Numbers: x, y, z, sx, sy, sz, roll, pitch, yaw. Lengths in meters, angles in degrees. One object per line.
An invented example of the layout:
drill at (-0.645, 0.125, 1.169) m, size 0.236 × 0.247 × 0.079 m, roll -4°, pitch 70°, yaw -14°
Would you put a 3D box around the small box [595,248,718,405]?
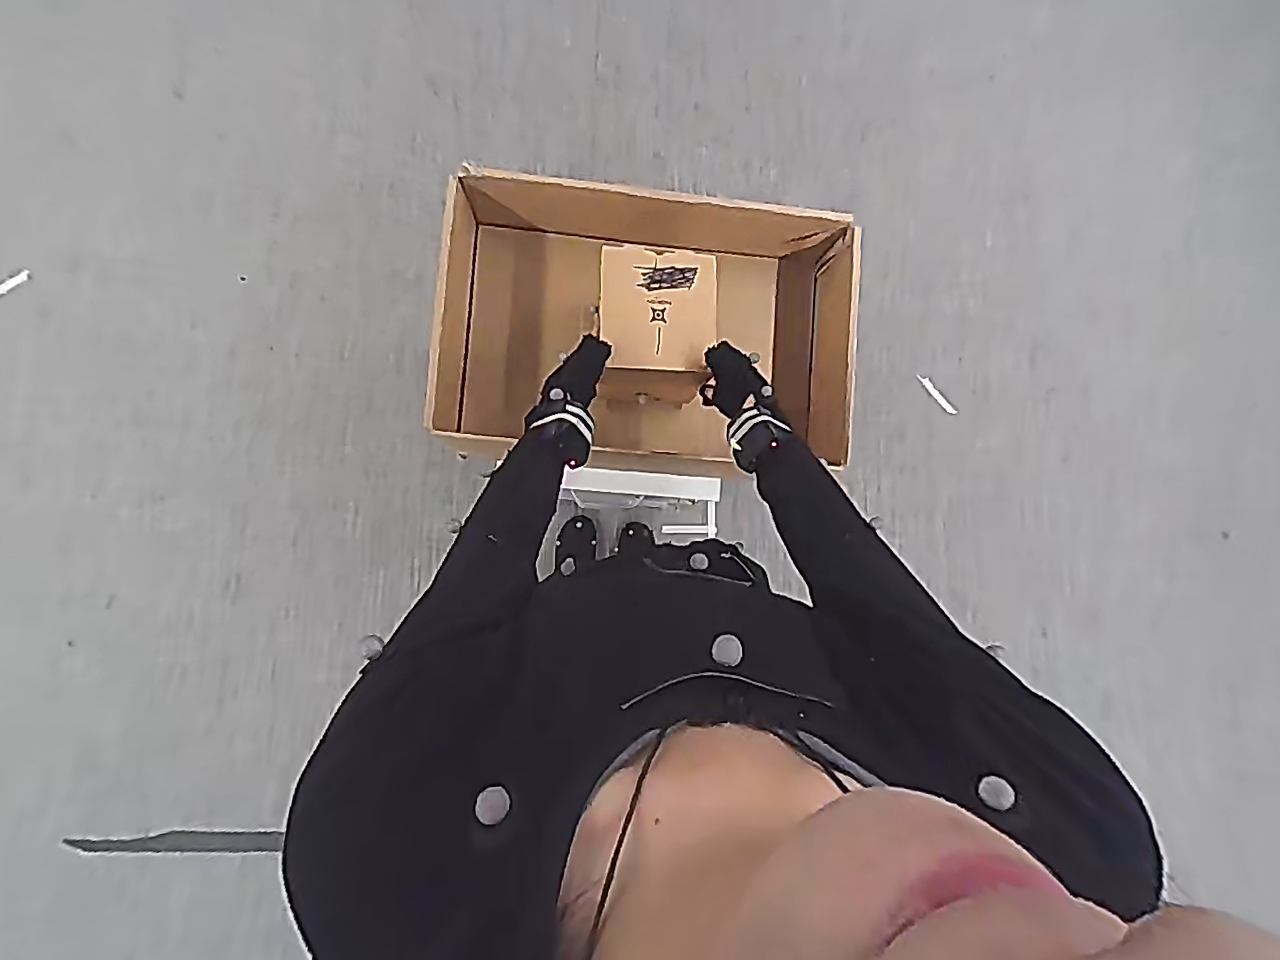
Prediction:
small box at (0.017, -0.225, 0.829) m, size 0.168 × 0.176 × 0.179 m, roll 1°, pitch 82°, yaw -7°
